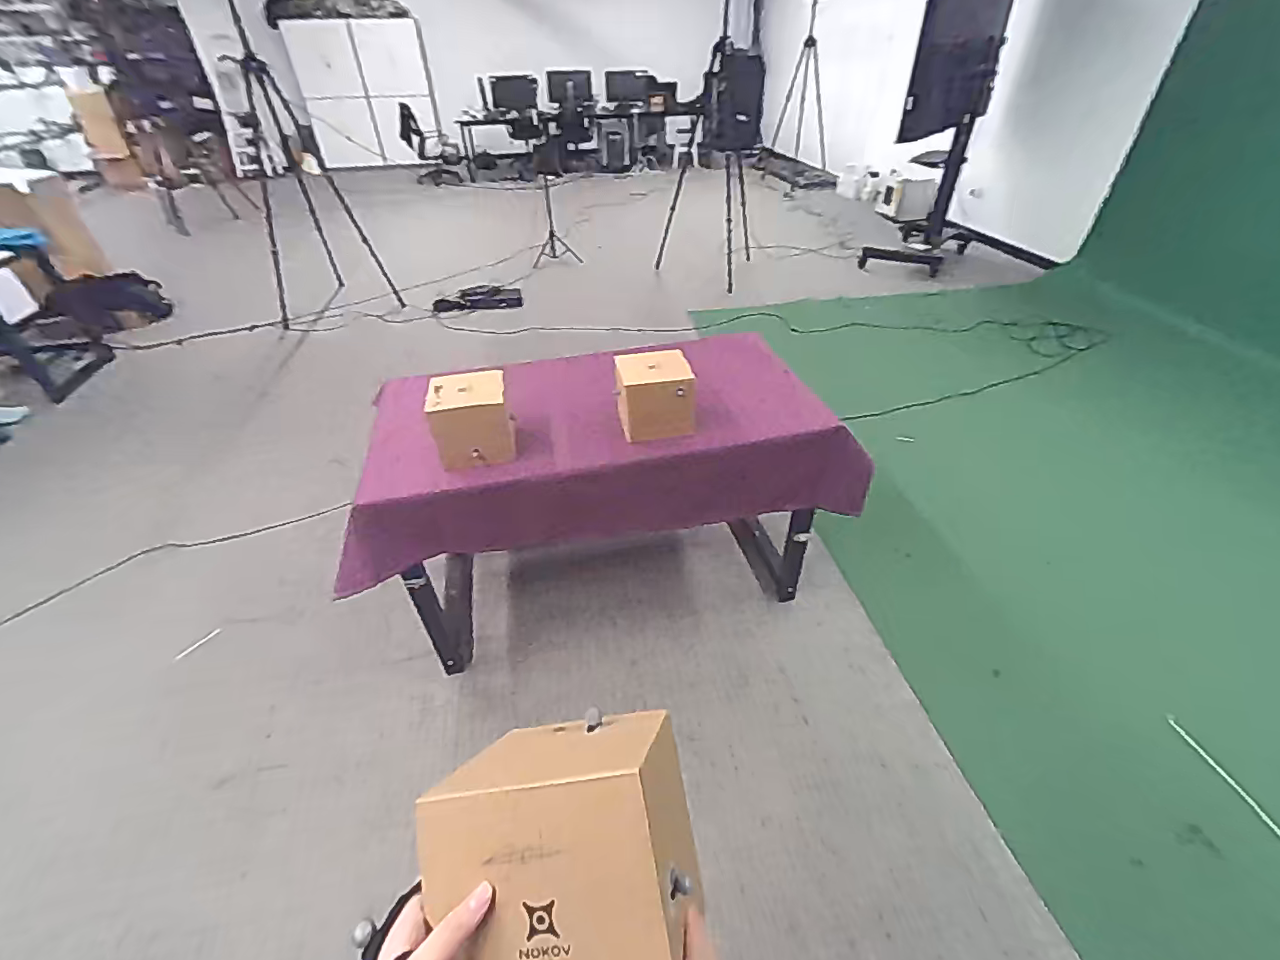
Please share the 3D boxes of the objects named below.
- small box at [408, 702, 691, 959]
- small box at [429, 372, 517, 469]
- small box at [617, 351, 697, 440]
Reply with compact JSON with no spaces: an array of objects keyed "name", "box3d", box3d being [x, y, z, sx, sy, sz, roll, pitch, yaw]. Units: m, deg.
[{"name":"small box","box3d":[-0.058,0.299,0.436,0.168,0.176,0.179,-12,79,8]},{"name":"small box","box3d":[-0.400,-0.146,1.325,0.179,0.176,0.168,-8,39,-8]},{"name":"small box","box3d":[0.042,-0.215,1.392,0.179,0.176,0.168,-7,39,-7]}]
